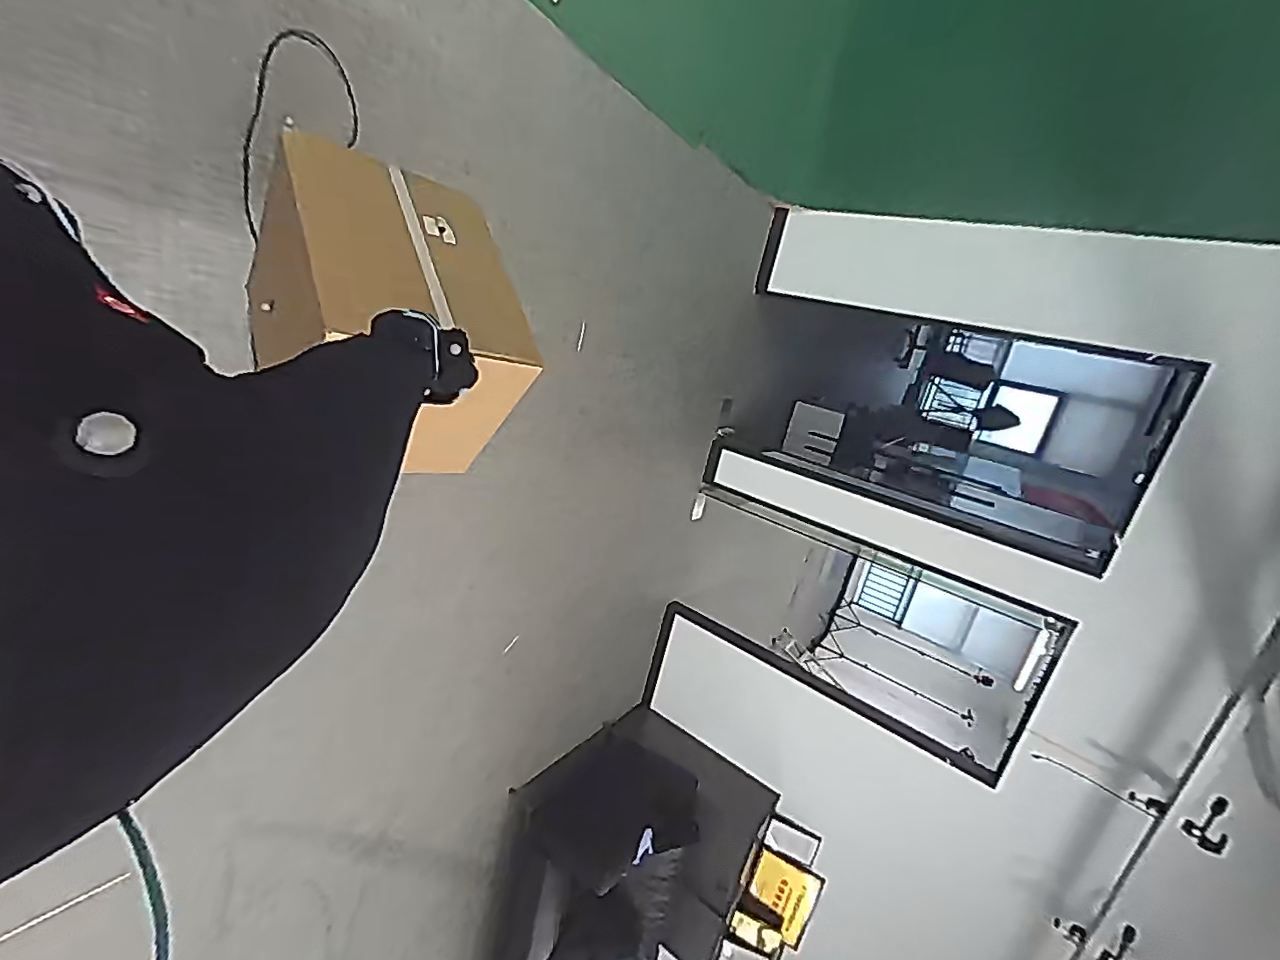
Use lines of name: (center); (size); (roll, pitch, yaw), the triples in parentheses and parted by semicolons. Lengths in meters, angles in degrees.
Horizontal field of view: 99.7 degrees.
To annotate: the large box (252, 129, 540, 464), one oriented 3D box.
large box: (-0.429, -0.273, 0.917); (0.320, 0.408, 0.320); (0, 147, -46)
